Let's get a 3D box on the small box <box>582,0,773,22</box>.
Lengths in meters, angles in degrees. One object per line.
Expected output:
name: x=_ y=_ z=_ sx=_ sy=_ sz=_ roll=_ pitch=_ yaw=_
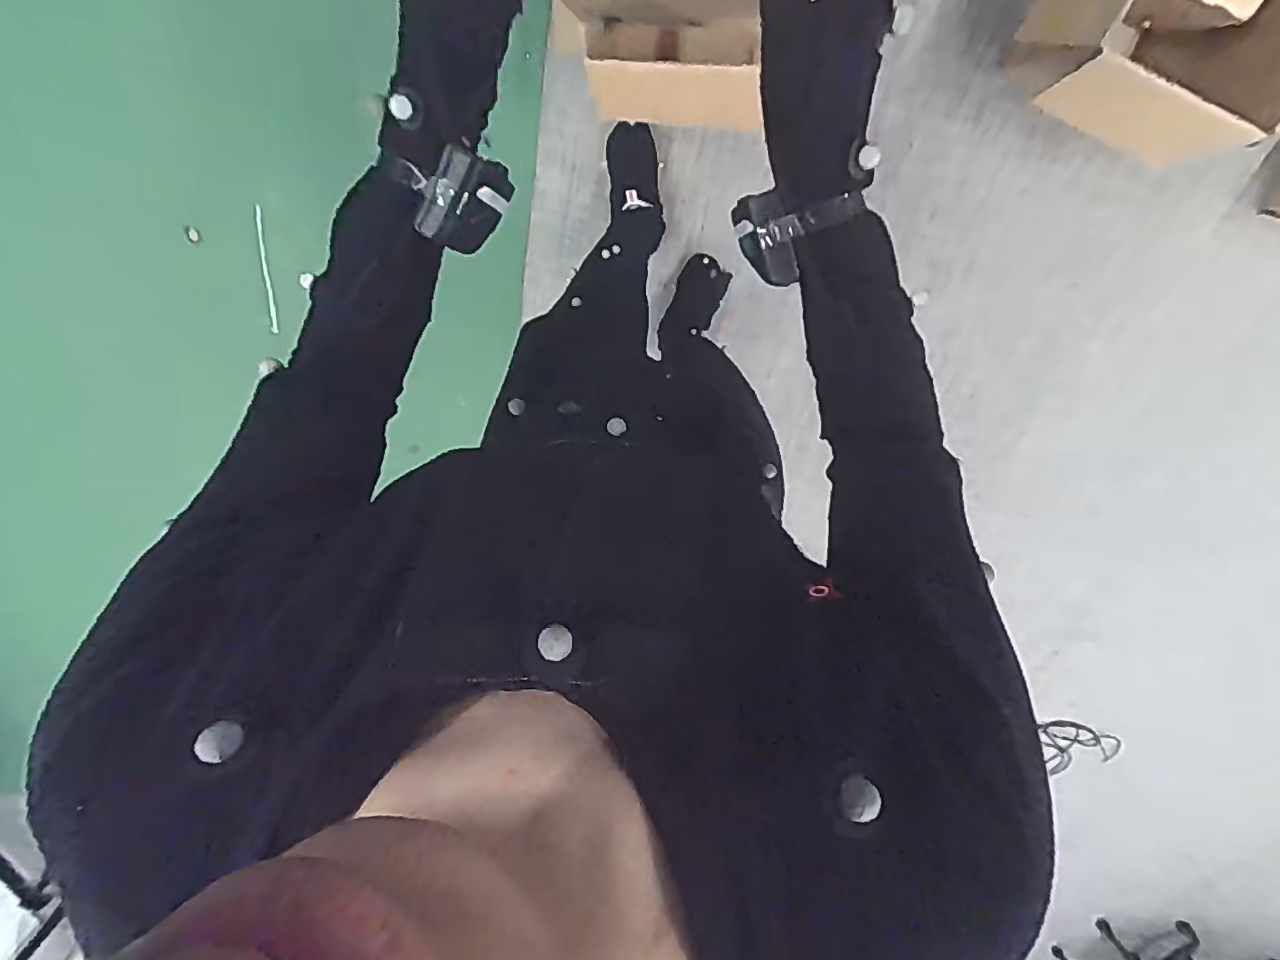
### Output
small box: x=0.025 y=-0.427 z=0.351 sx=0.168 sy=0.176 sz=0.179 roll=6 pitch=120 yaw=4
